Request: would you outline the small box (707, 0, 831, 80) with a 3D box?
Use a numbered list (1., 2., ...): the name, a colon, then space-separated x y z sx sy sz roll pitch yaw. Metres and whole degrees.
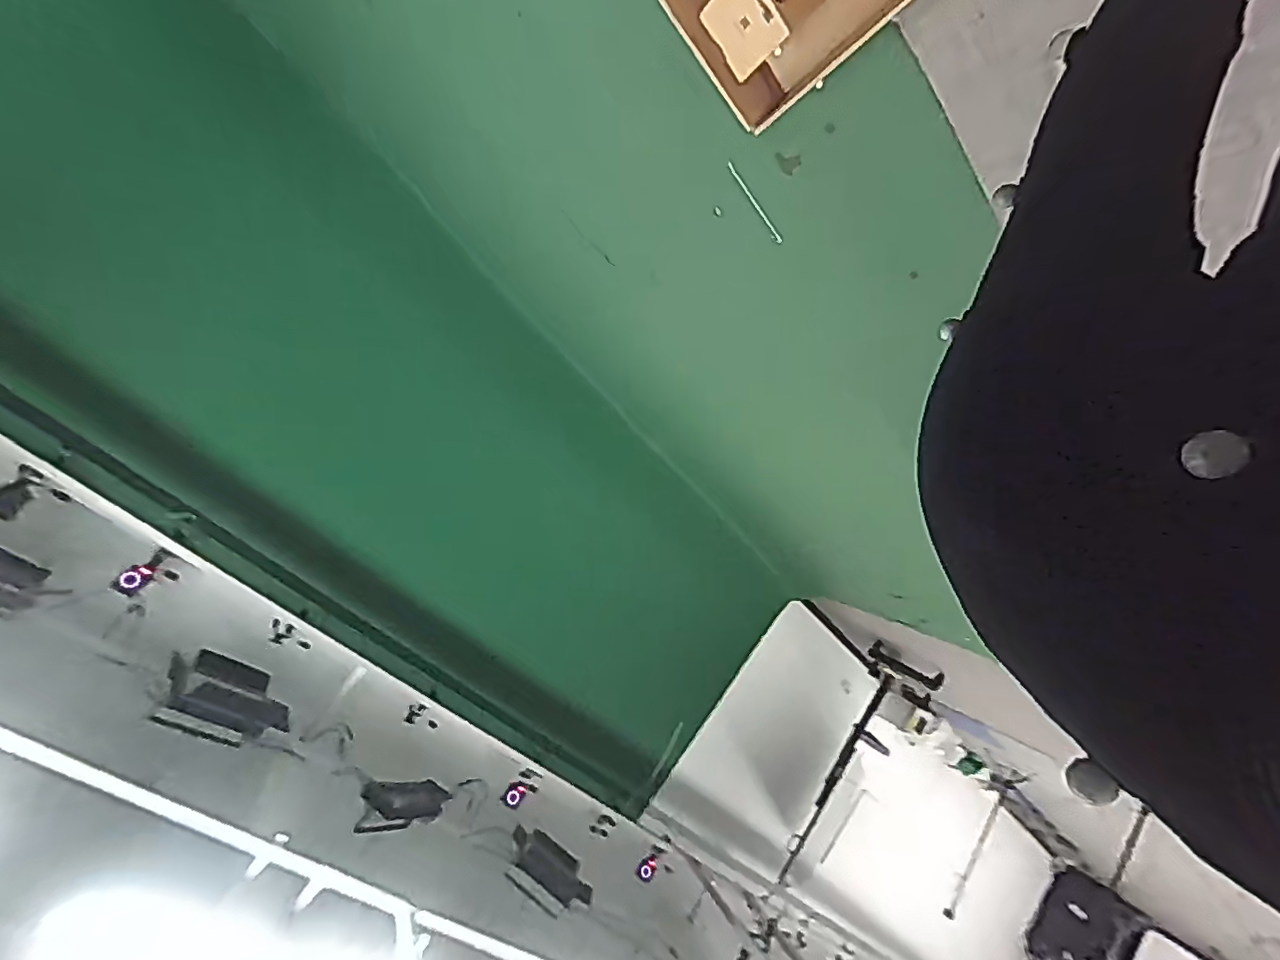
1. small box: 0.290 -1.050 1.191 0.168 0.176 0.179 46 165 -21
